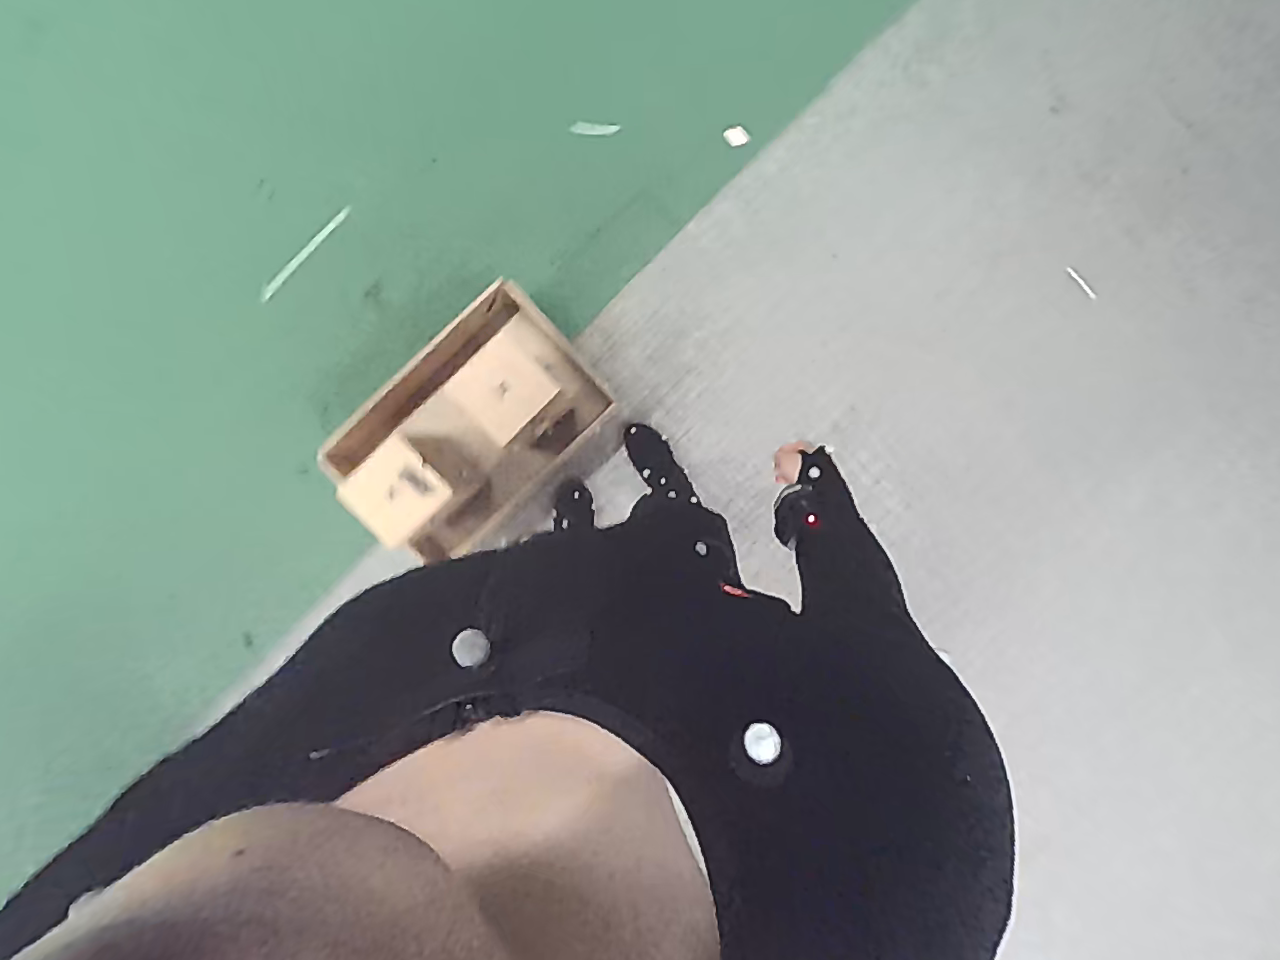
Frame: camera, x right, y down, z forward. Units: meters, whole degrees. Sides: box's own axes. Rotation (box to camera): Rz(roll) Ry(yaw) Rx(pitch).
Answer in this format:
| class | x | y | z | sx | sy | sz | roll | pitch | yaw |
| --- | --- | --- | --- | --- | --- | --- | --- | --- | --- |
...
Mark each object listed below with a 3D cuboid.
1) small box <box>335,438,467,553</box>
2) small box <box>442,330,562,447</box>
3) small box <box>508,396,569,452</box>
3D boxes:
| class | x | y | z | sx | sy | sz | roll | pitch | yaw |
| --- | --- | --- | --- | --- | --- | --- | --- | --- | --- |
| small box | -0.492 | 0.025 | 1.151 | 0.179 | 0.176 | 0.168 | -43 | 95 | 1 |
| small box | -0.281 | -0.187 | 1.153 | 0.168 | 0.176 | 0.179 | 45 | 91 | -7 |
| small box | -0.288 | -0.190 | 1.316 | 0.168 | 0.176 | 0.179 | -42 | 96 | 1 |
